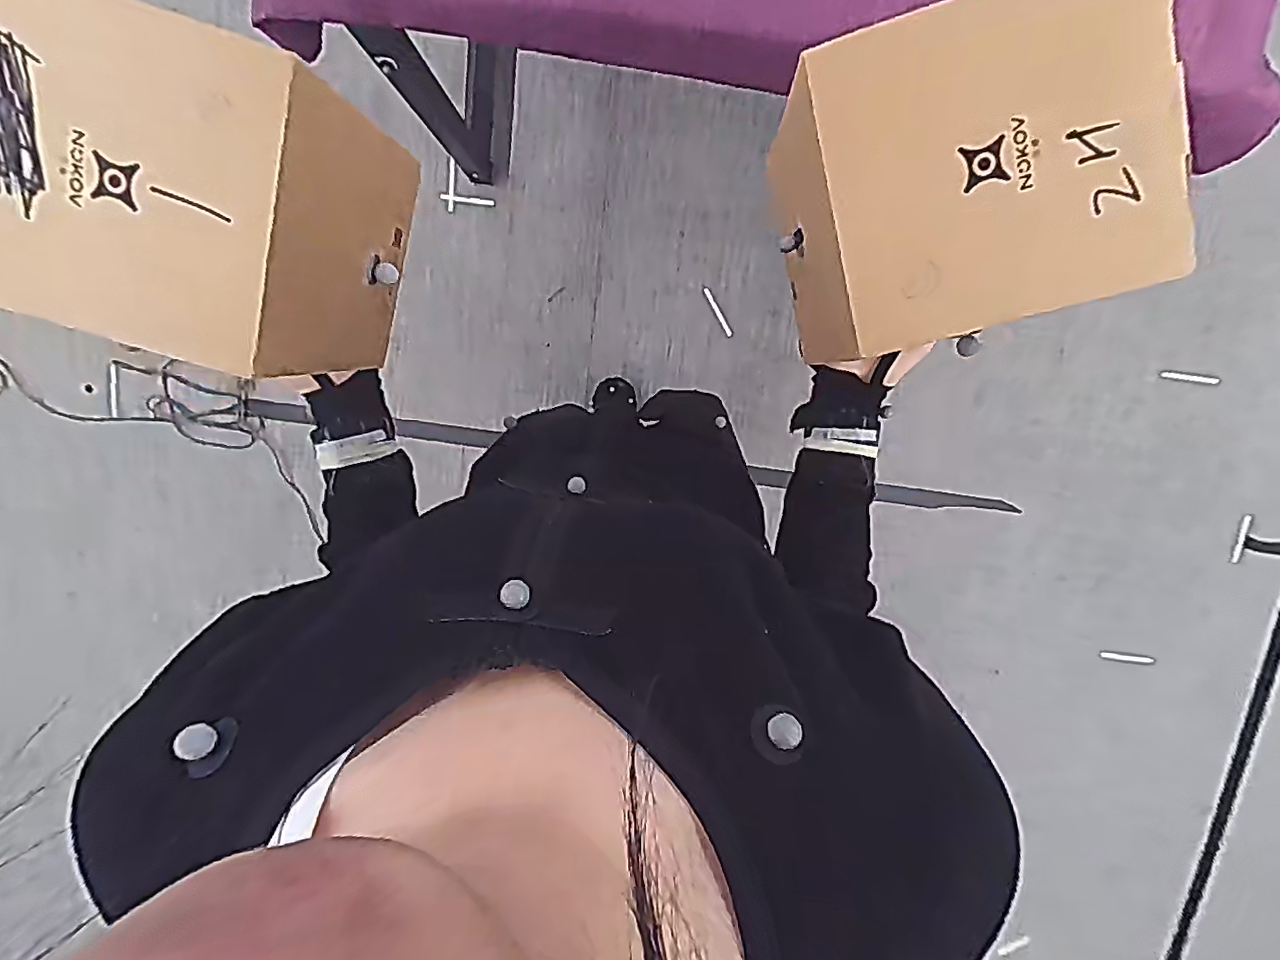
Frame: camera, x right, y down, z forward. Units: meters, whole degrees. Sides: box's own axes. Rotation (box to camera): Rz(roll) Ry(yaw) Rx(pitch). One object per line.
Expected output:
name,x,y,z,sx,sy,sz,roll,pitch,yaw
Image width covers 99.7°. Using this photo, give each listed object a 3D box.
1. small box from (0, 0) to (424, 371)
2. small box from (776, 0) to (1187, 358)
small box,-0.269,-0.177,0.352,0.179,0.176,0.168,17,104,-6
small box,0.196,-0.183,0.364,0.179,0.176,0.168,-13,100,8
